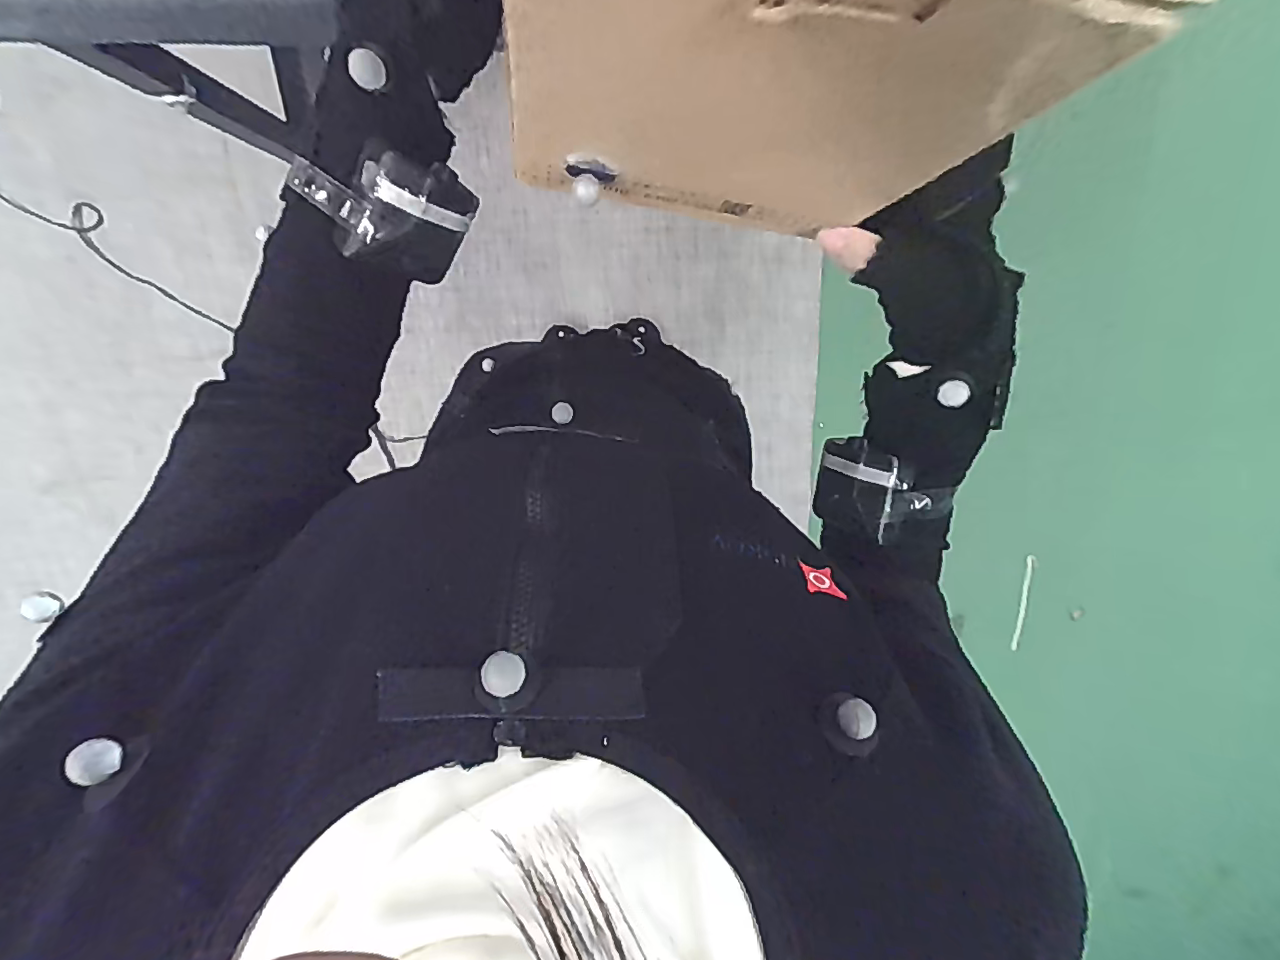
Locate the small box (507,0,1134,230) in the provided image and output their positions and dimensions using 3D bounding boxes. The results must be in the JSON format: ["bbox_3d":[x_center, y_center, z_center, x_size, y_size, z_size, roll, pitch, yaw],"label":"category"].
[{"bbox_3d":[0.044,-0.214,0.198,0.168,0.176,0.179,5,96,-12],"label":"small box"}]
